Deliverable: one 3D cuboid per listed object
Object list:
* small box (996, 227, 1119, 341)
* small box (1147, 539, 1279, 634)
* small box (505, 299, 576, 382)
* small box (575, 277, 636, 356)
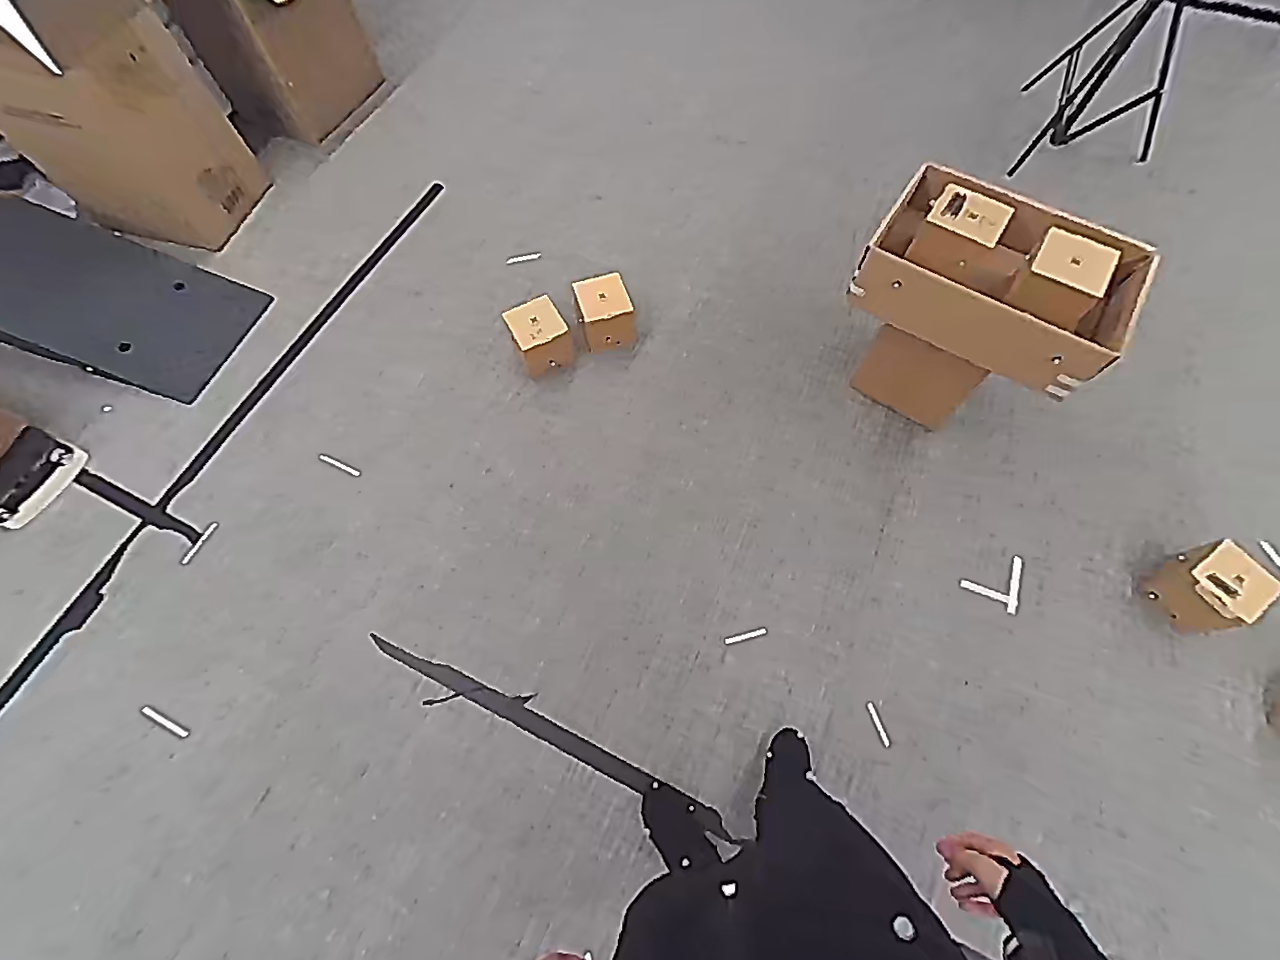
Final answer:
[{"bbox_3d":[1.036,-0.487,1.355,0.168,0.176,0.179,31,66,15],"label":"small box"},{"bbox_3d":[1.537,0.293,1.456,0.179,0.176,0.168,-32,69,-13],"label":"small box"},{"bbox_3d":[-0.333,-0.467,1.826,0.168,0.176,0.179,-27,69,-10],"label":"small box"},{"bbox_3d":[-0.119,-0.563,1.870,0.168,0.176,0.179,-18,68,-8],"label":"small box"}]
